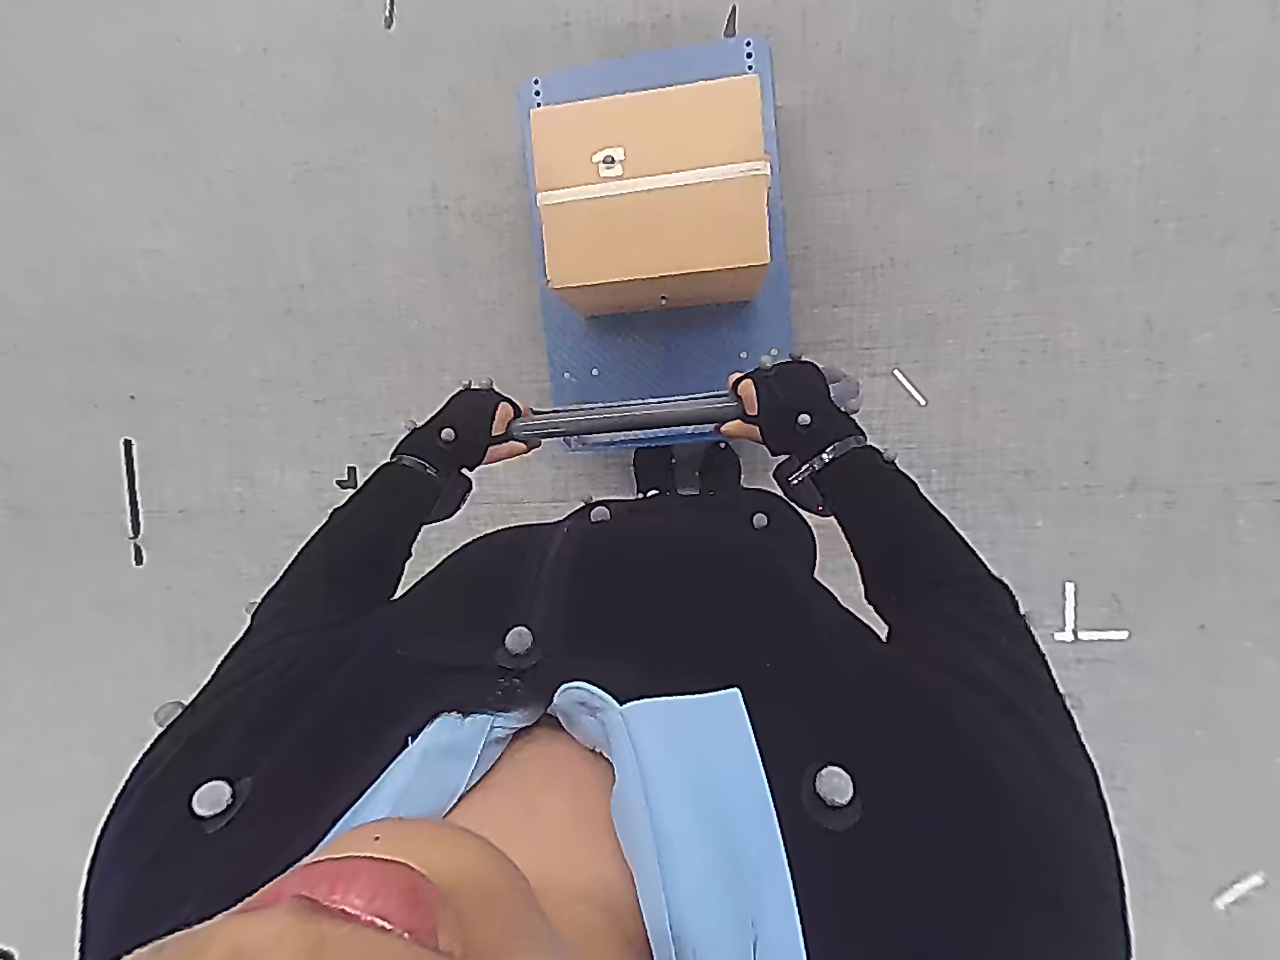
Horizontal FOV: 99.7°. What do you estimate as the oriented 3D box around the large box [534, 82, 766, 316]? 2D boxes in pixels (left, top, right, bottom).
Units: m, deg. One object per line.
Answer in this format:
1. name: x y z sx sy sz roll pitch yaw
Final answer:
1. large box: 0.036 -0.540 1.122 0.408 0.320 0.320 -4 96 8
